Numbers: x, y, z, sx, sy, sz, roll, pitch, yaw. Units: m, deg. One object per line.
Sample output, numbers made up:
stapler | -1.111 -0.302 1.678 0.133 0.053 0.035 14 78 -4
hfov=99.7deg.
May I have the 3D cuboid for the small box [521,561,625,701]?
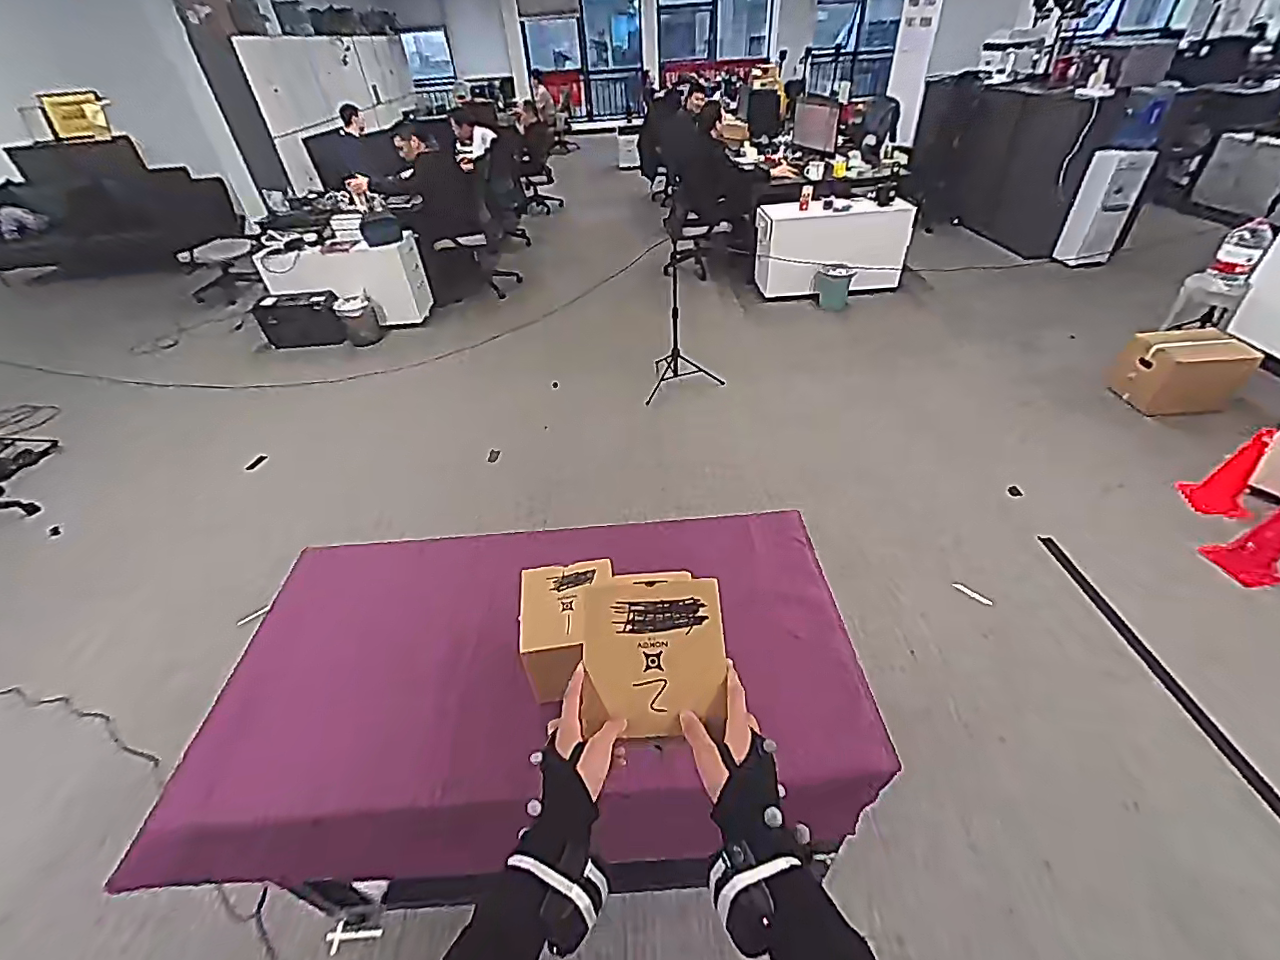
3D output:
small box | -0.120 0.278 1.001 0.168 0.176 0.179 -7 40 -4
